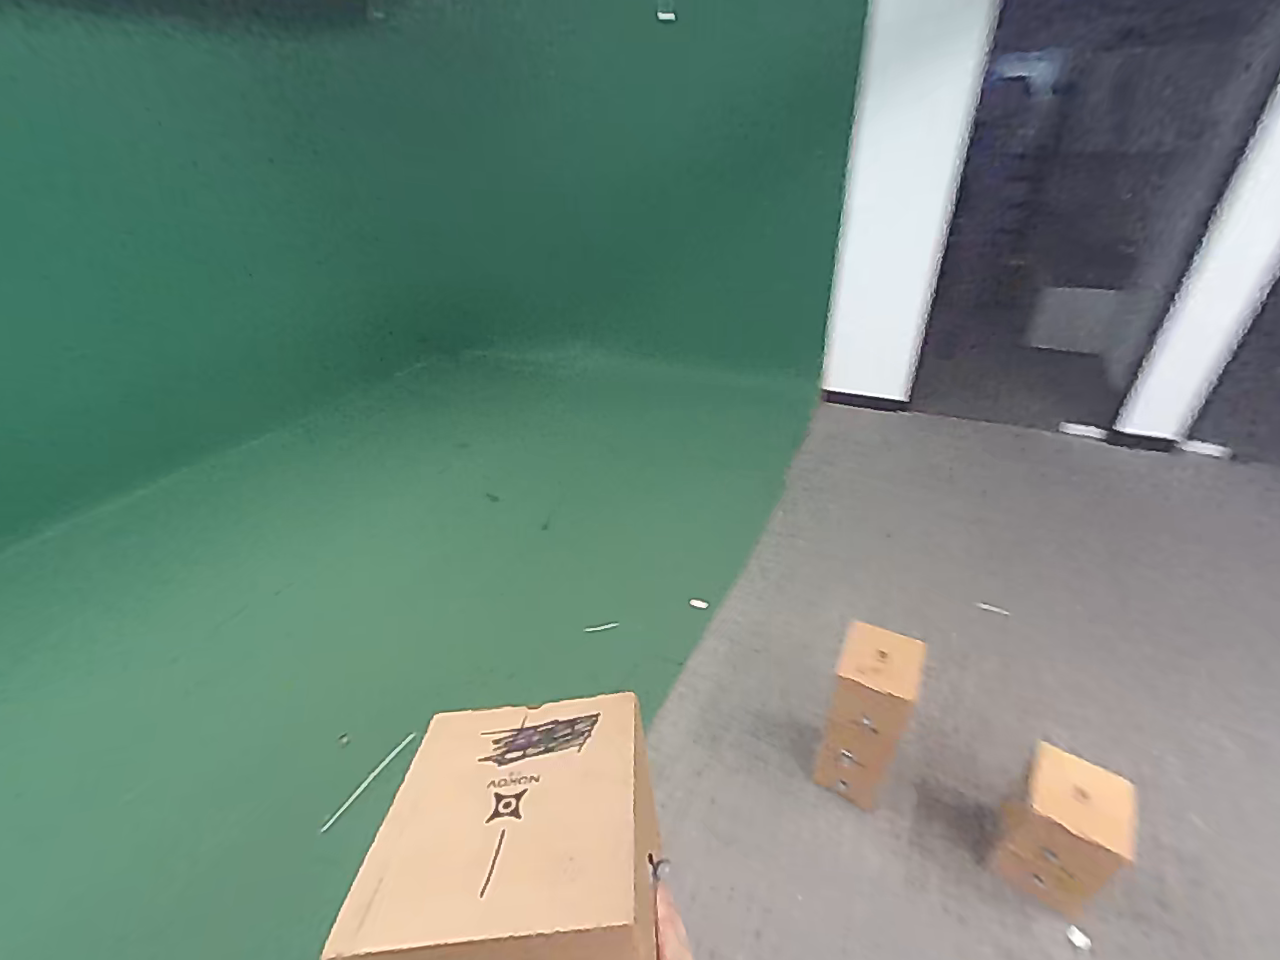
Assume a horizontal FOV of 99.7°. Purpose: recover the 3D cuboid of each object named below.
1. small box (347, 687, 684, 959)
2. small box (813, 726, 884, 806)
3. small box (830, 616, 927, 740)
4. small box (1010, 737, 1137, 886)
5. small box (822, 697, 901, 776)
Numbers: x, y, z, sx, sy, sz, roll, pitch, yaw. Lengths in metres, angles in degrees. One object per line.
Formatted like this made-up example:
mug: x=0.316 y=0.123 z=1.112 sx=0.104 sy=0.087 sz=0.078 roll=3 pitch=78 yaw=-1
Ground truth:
small box: x=-0.061 y=0.275 z=0.375 sx=0.168 sy=0.176 sz=0.179 roll=-7 pitch=18 yaw=4
small box: x=0.570 y=0.721 z=1.440 sx=0.168 sy=0.176 sz=0.179 roll=17 pitch=41 yaw=29
small box: x=0.547 y=0.455 z=1.250 sx=0.168 sy=0.176 sz=0.179 roll=13 pitch=38 yaw=28
small box: x=0.908 y=0.696 z=1.140 sx=0.168 sy=0.176 sz=0.179 roll=19 pitch=42 yaw=32
small box: x=0.560 y=0.589 z=1.346 sx=0.168 sy=0.176 sz=0.179 roll=13 pitch=39 yaw=27
